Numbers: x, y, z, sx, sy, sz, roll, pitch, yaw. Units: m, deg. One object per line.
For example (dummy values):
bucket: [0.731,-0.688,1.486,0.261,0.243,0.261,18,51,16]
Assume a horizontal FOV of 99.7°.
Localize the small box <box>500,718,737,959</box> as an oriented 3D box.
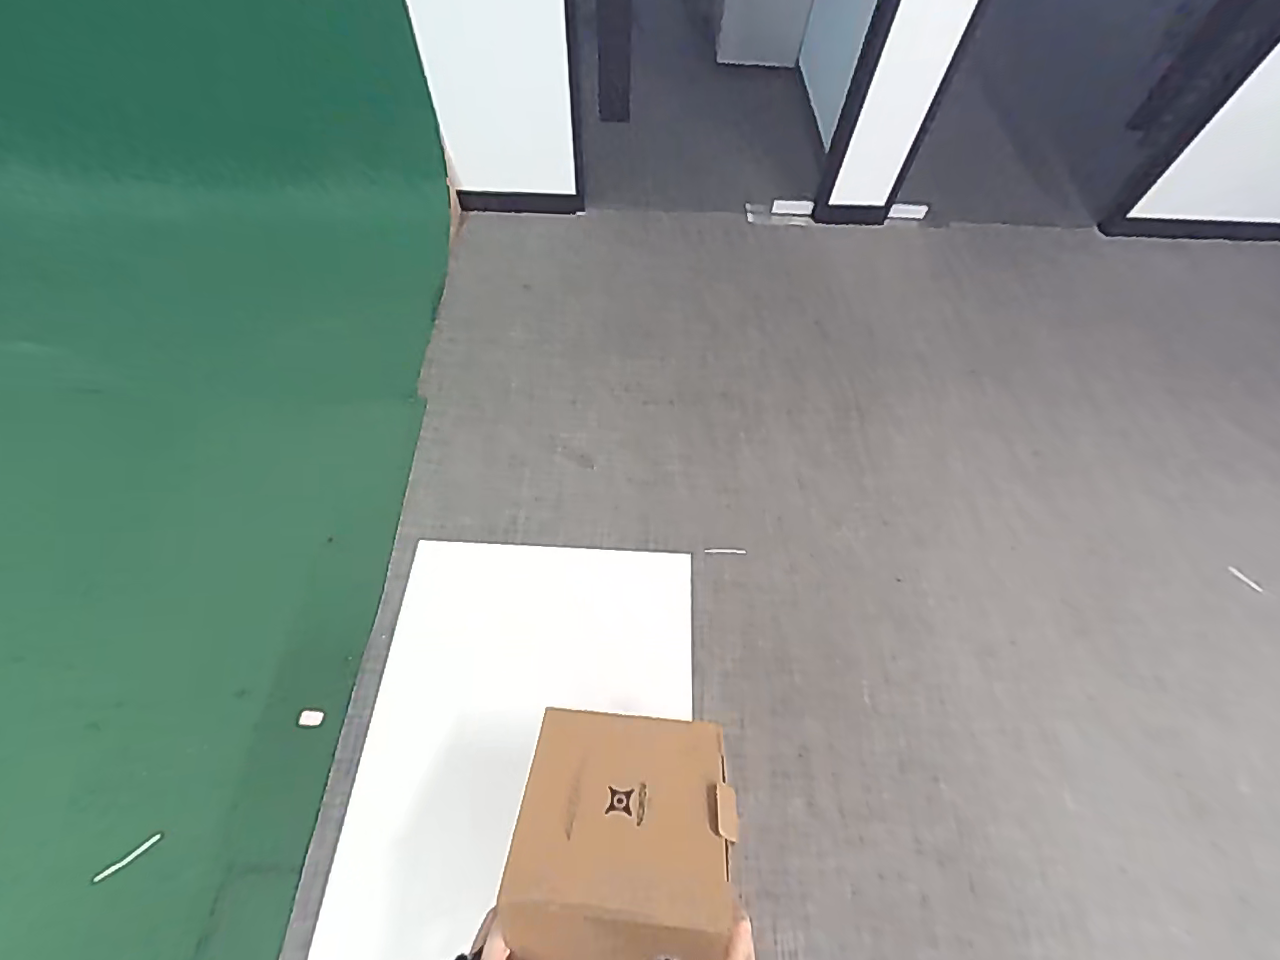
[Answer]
small box: [-0.013,0.351,0.499,0.179,0.176,0.168,3,31,3]
